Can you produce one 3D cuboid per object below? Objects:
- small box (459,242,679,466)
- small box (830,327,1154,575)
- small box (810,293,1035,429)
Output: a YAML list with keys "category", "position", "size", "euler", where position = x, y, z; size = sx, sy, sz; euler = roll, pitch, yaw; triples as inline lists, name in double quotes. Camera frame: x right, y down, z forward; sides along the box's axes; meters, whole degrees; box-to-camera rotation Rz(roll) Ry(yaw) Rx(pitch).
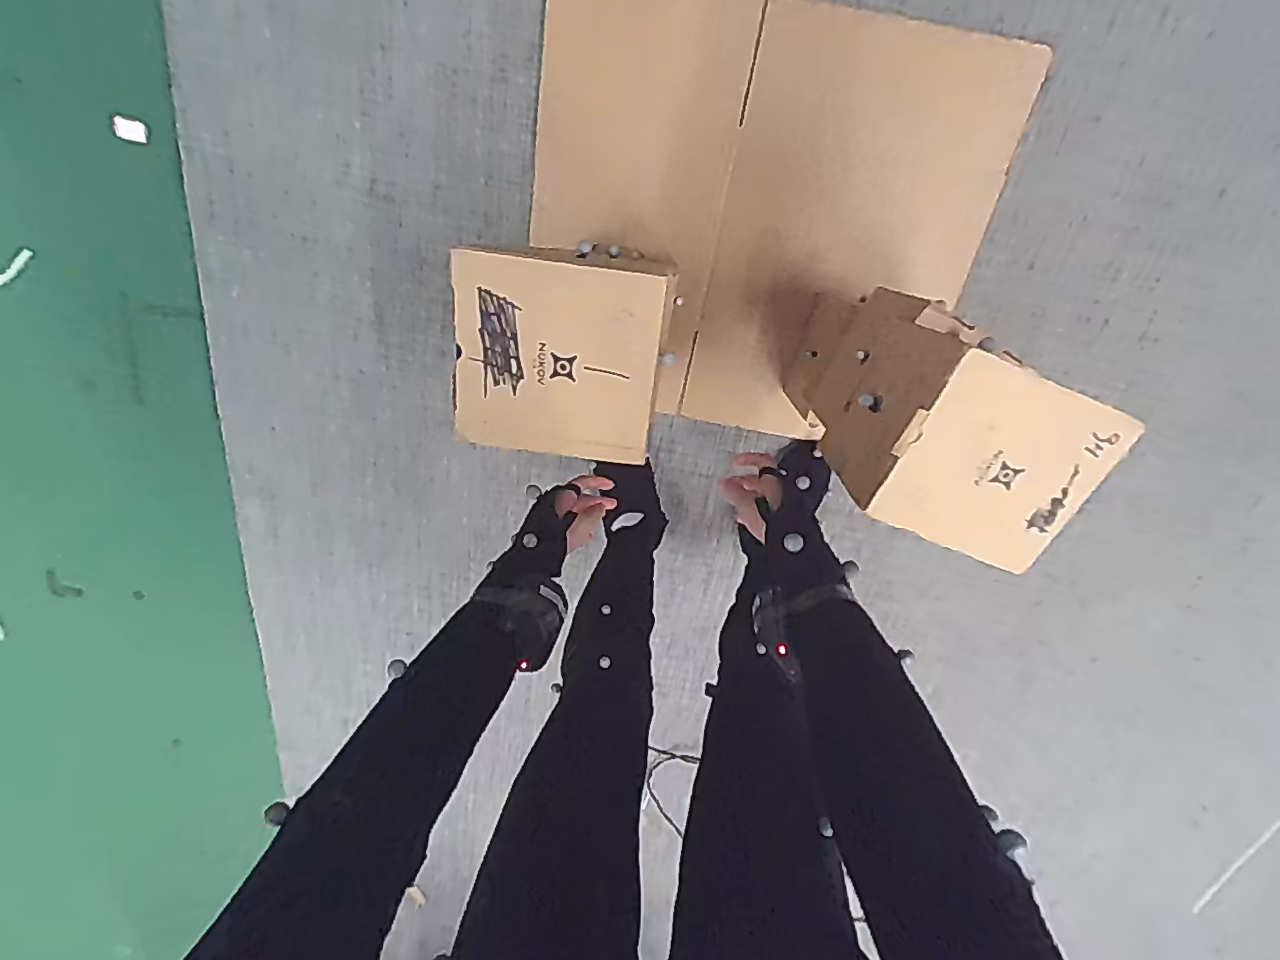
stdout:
- category: "small box"
  position: [-0.061, -0.130, 0.526]
  size: [0.179, 0.176, 0.168]
  euler: [8, 114, 0]
- category: "small box"
  position: [0.319, -0.041, 0.540]
  size: [0.179, 0.176, 0.168]
  euler: [22, 113, -6]
- category: "small box"
  position: [0.341, -0.116, 0.684]
  size: [0.168, 0.176, 0.179]
  euler: [29, 113, -10]
